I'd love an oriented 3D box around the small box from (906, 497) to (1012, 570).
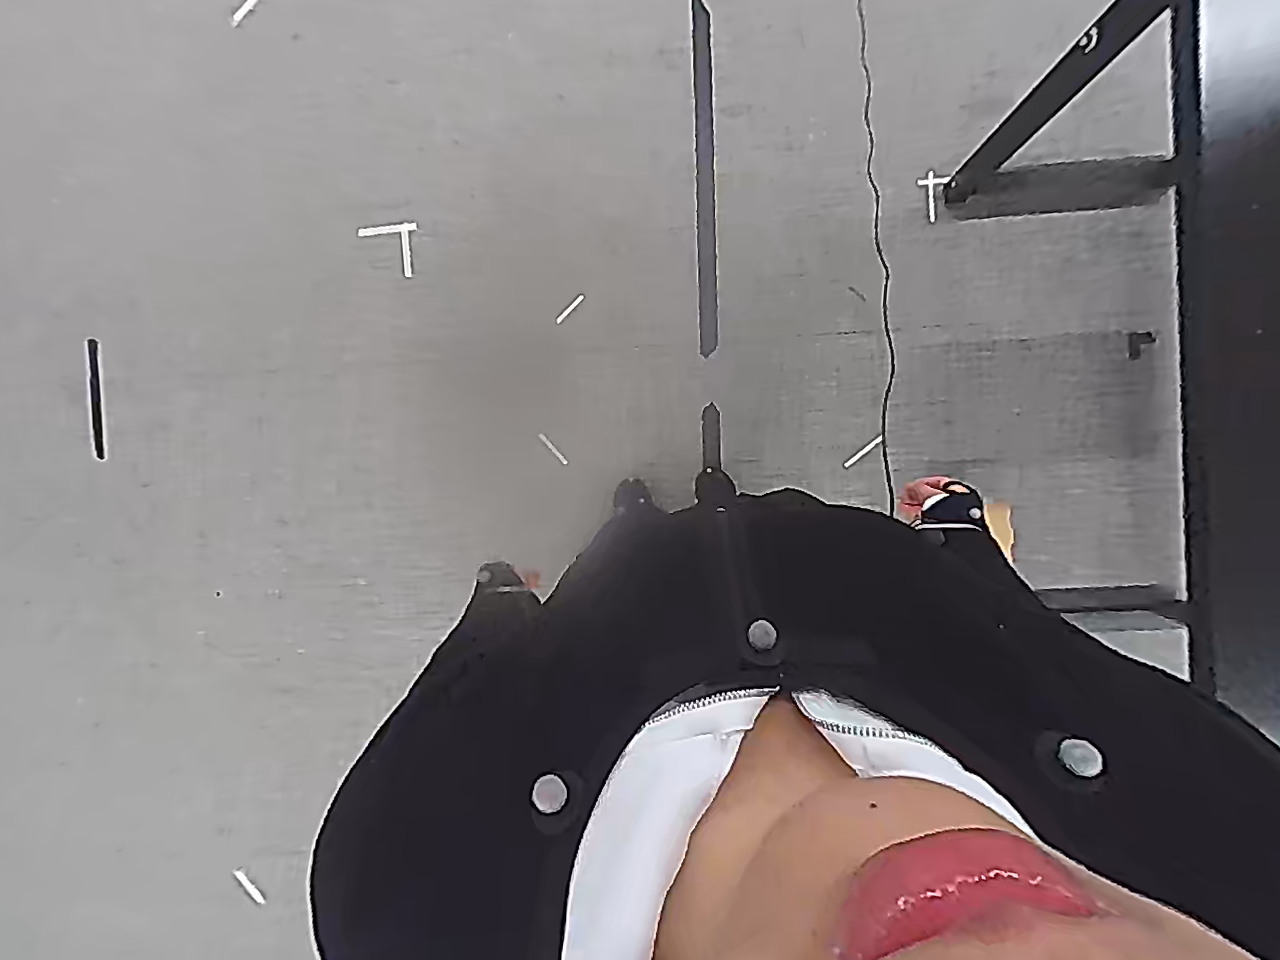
[{"bbox_3d":[0.803,0.130,1.372,0.179,0.176,0.168,-3,90,4],"label":"small box"}]
